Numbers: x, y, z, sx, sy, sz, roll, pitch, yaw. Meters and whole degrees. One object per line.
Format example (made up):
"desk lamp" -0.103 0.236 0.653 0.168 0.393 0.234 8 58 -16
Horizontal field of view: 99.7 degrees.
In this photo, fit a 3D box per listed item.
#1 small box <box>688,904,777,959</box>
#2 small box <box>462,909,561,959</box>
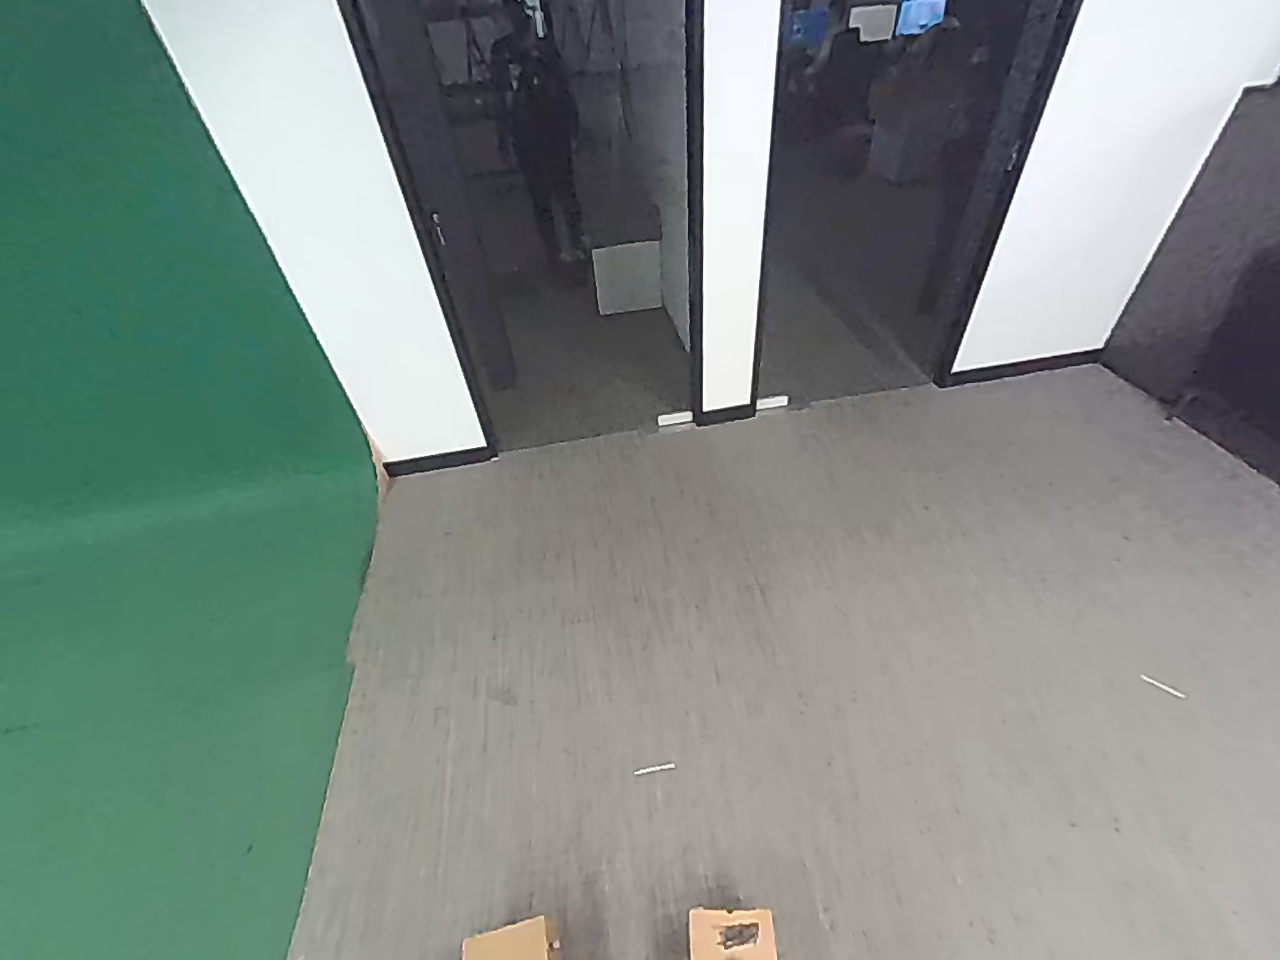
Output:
"small box" 0.179 0.958 1.058 0.168 0.176 0.179 -2 43 4
"small box" -0.247 0.992 1.065 0.168 0.176 0.179 -12 42 -7
